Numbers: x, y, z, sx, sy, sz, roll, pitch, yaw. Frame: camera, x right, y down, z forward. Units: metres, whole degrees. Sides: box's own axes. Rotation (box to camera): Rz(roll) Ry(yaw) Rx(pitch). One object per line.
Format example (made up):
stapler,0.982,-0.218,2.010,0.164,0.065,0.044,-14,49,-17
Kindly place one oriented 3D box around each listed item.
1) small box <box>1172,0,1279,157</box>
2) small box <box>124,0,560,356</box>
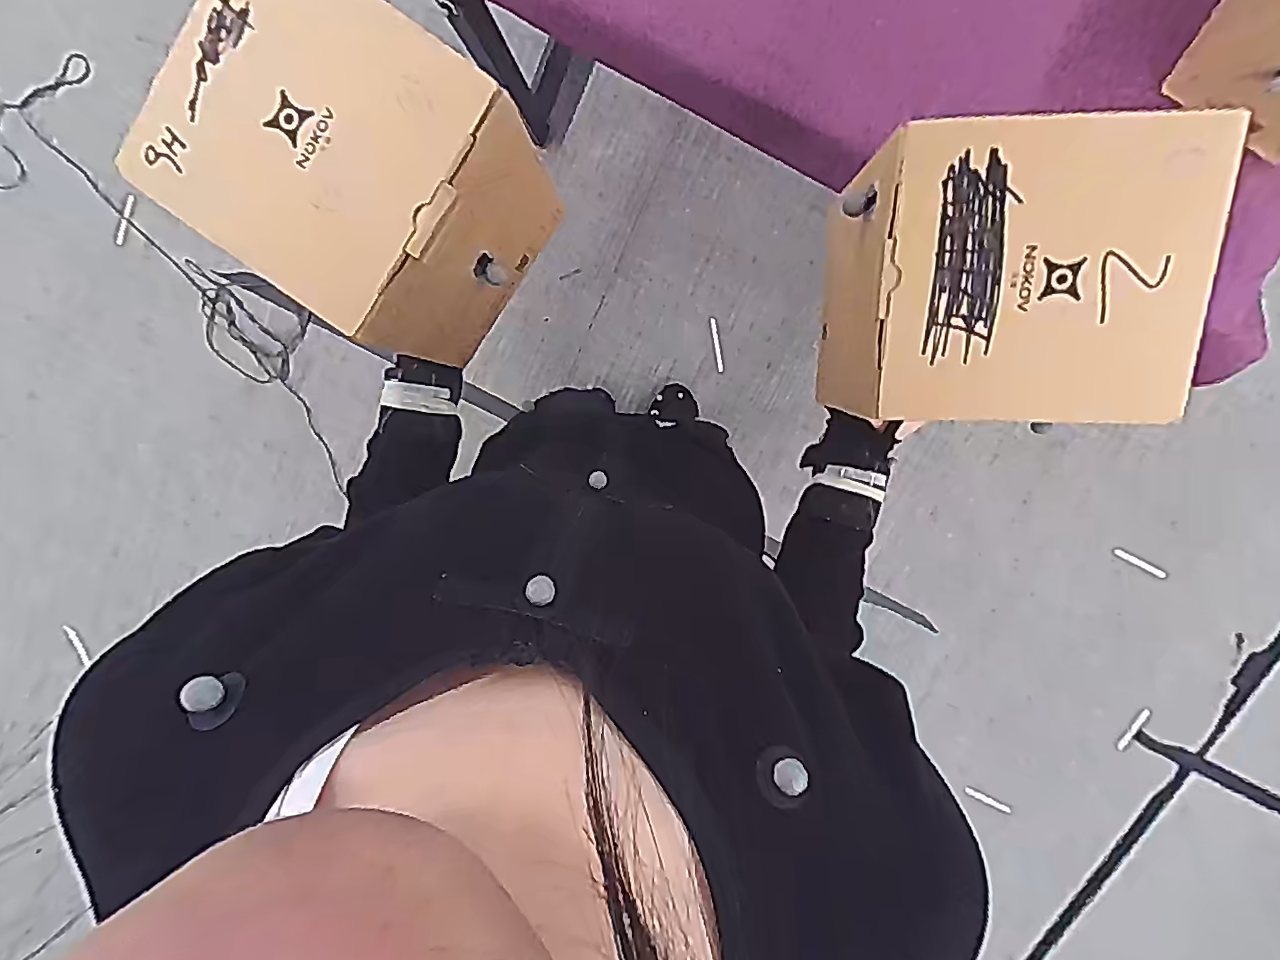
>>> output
small box,0.705,-0.468,0.538,0.168,0.176,0.179,31,100,-1
small box,-0.179,-0.204,0.385,0.179,0.176,0.168,35,97,-1
